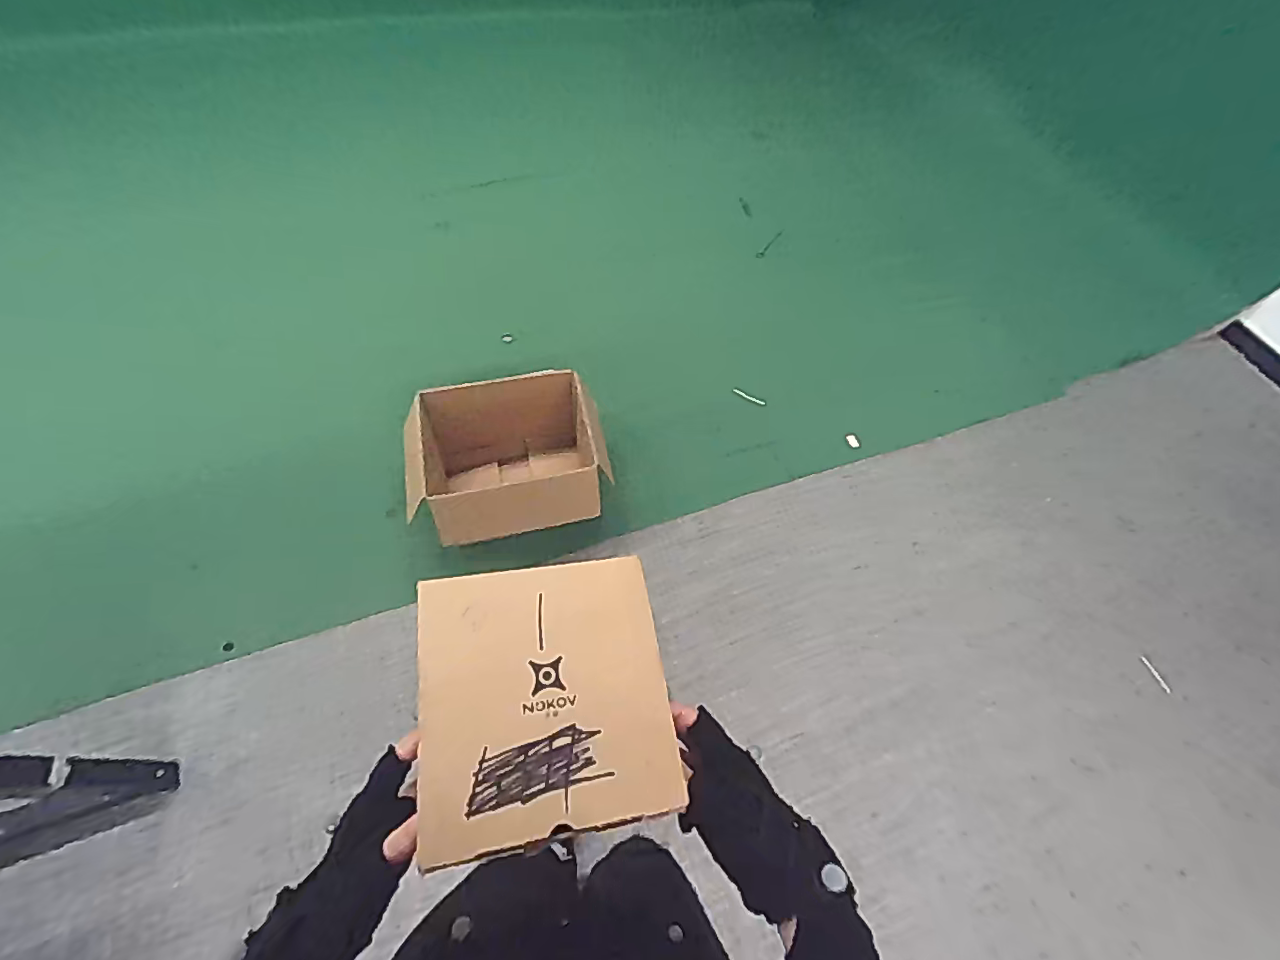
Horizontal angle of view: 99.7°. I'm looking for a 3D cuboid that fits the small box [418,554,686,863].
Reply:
[{"bbox_3d":[-0.075,0.176,0.434,0.168,0.176,0.179,-4,62,-14],"label":"small box"}]
